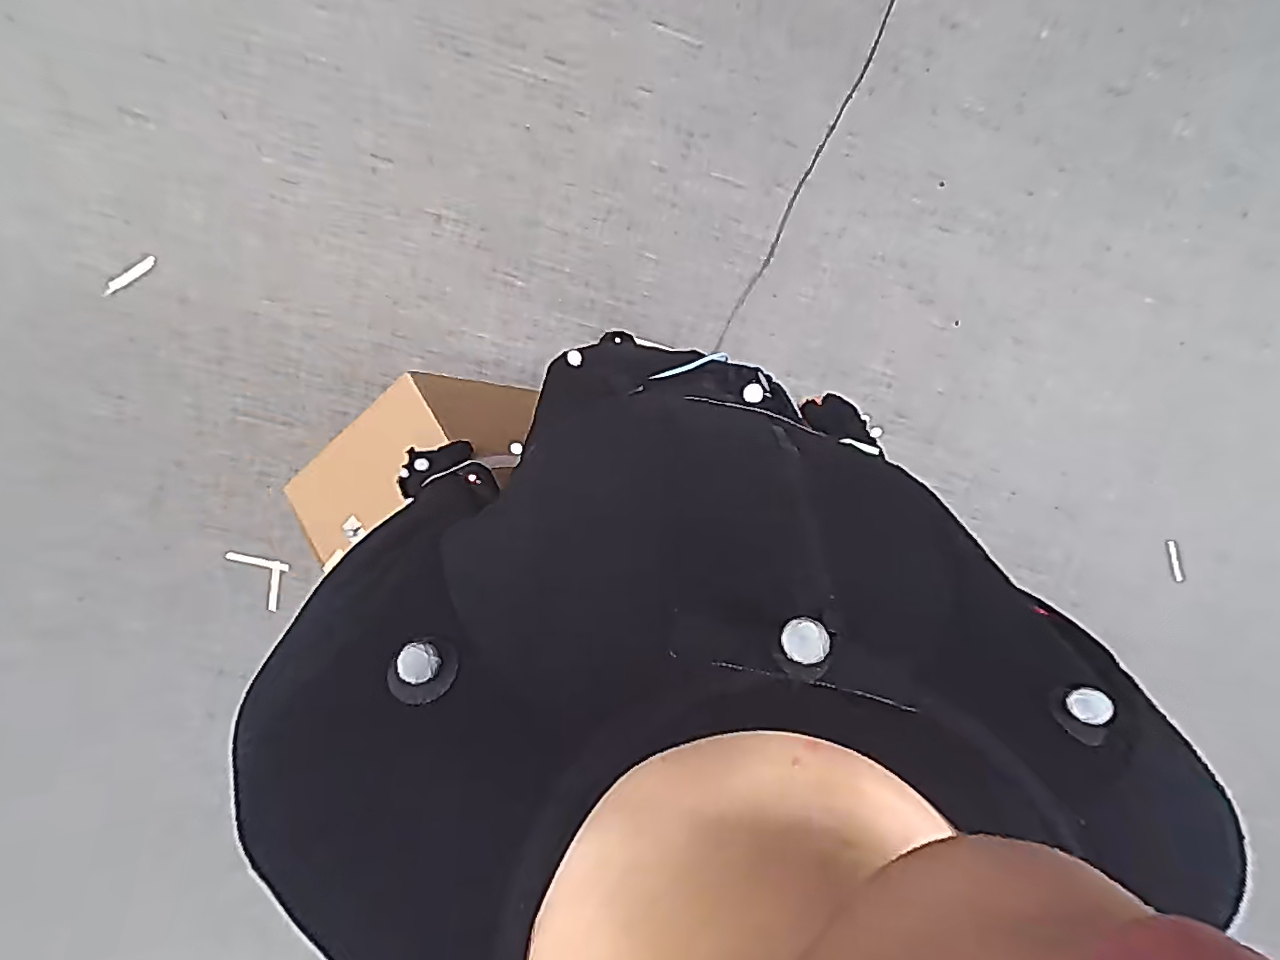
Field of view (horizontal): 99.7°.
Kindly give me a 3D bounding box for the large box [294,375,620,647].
[{"bbox_3d":[-0.300,0.039,0.983,0.320,0.408,0.320,-33,83,19],"label":"large box"}]
